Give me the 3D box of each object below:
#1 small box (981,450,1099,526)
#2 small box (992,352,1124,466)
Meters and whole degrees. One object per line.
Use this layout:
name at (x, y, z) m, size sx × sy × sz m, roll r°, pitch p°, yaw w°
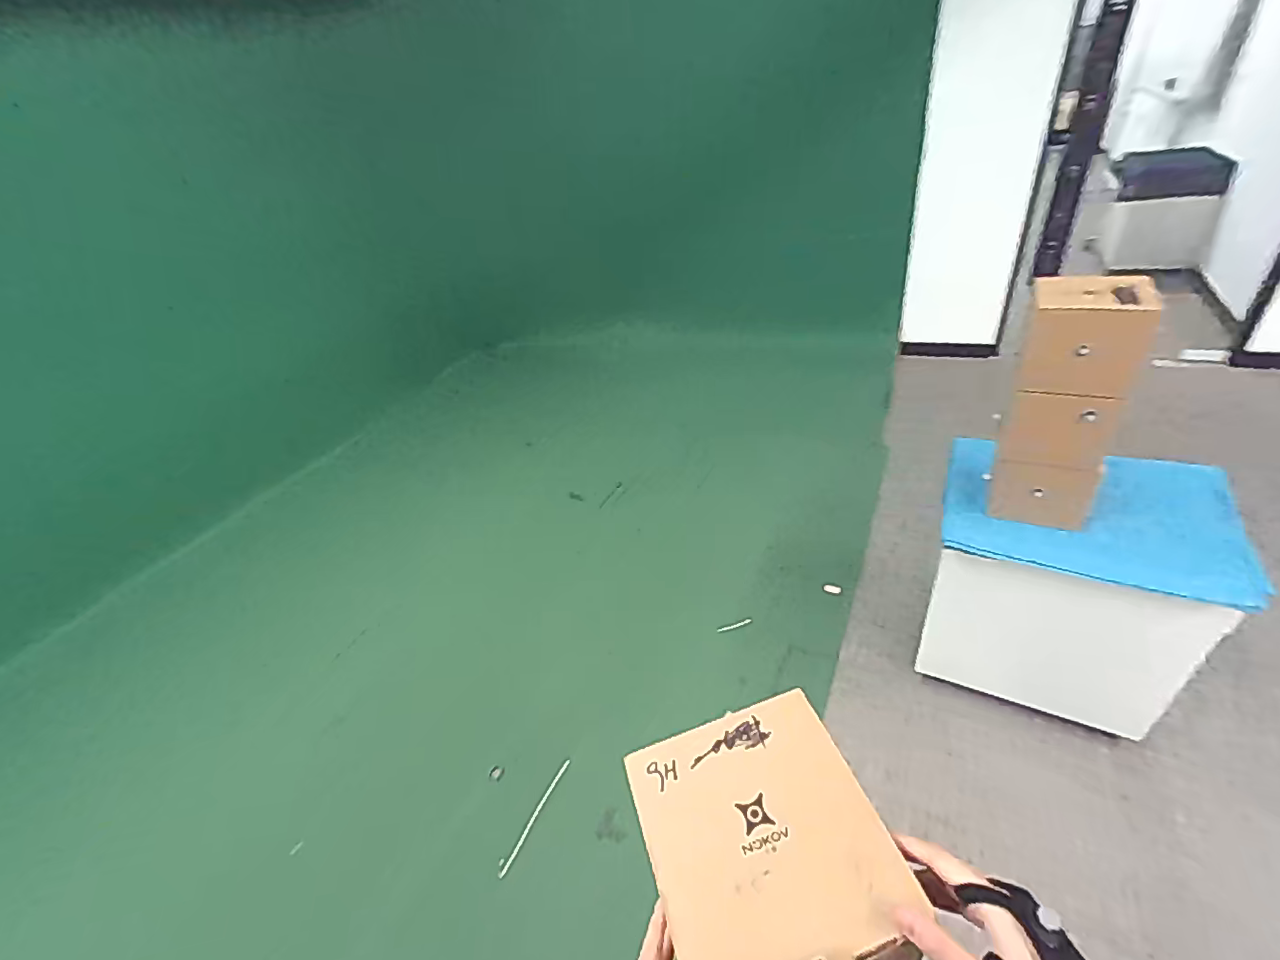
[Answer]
small box at (0.889, -0.017, 1.216) m, size 0.179 × 0.176 × 0.168 m, roll 10°, pitch 41°, yaw 27°
small box at (0.855, -0.148, 1.122) m, size 0.179 × 0.176 × 0.168 m, roll 11°, pitch 41°, yaw 27°
